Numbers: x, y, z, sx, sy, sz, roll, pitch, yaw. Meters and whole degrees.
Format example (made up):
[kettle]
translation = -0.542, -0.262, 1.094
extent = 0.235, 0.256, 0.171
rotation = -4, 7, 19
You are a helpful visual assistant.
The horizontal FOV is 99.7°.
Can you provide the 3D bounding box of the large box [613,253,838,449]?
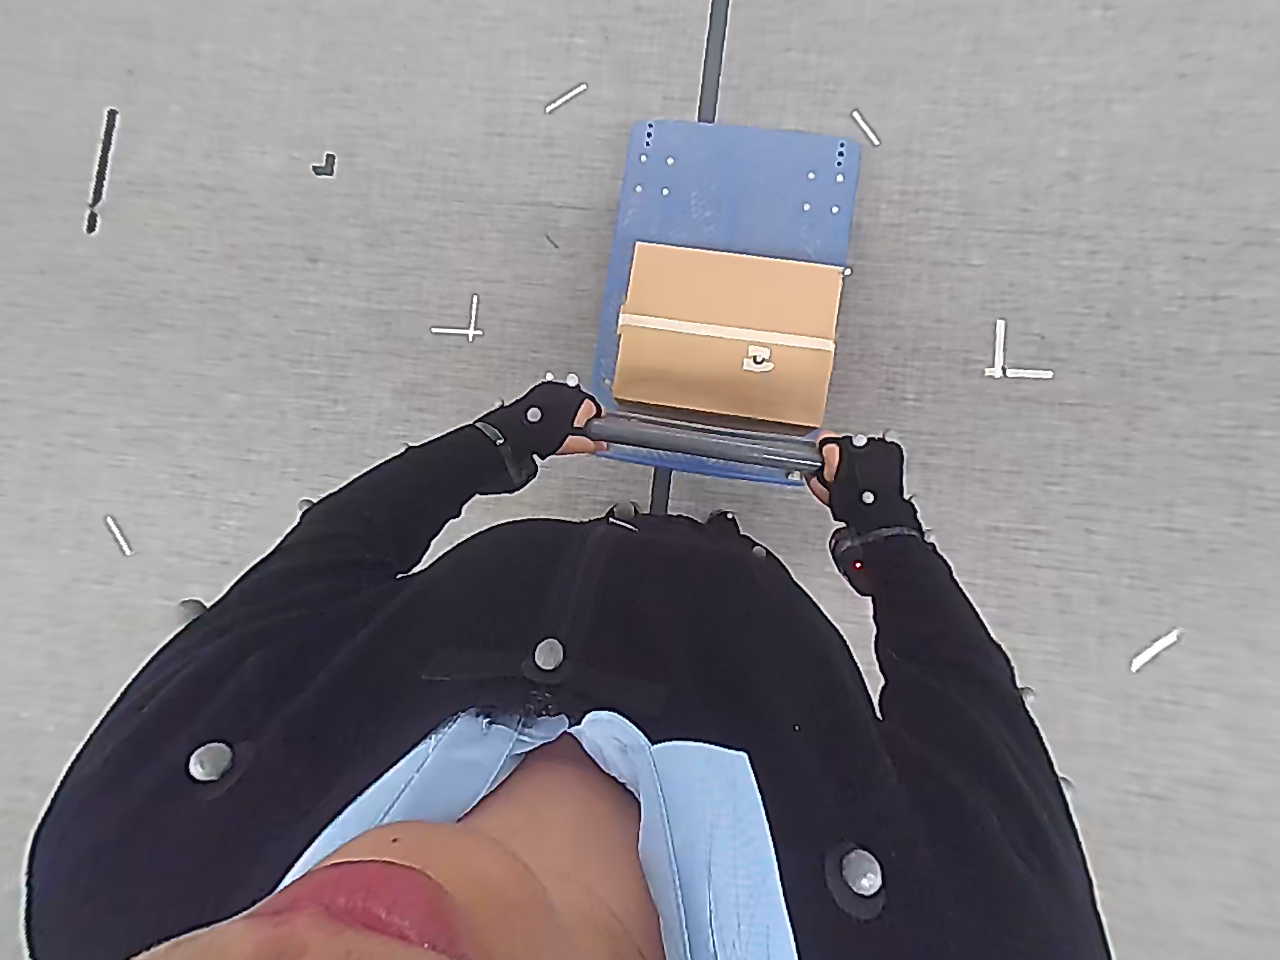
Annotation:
[large box]
translation = 0.169, -0.260, 1.185
extent = 0.408, 0.320, 0.320
rotation = 9, 89, 3
